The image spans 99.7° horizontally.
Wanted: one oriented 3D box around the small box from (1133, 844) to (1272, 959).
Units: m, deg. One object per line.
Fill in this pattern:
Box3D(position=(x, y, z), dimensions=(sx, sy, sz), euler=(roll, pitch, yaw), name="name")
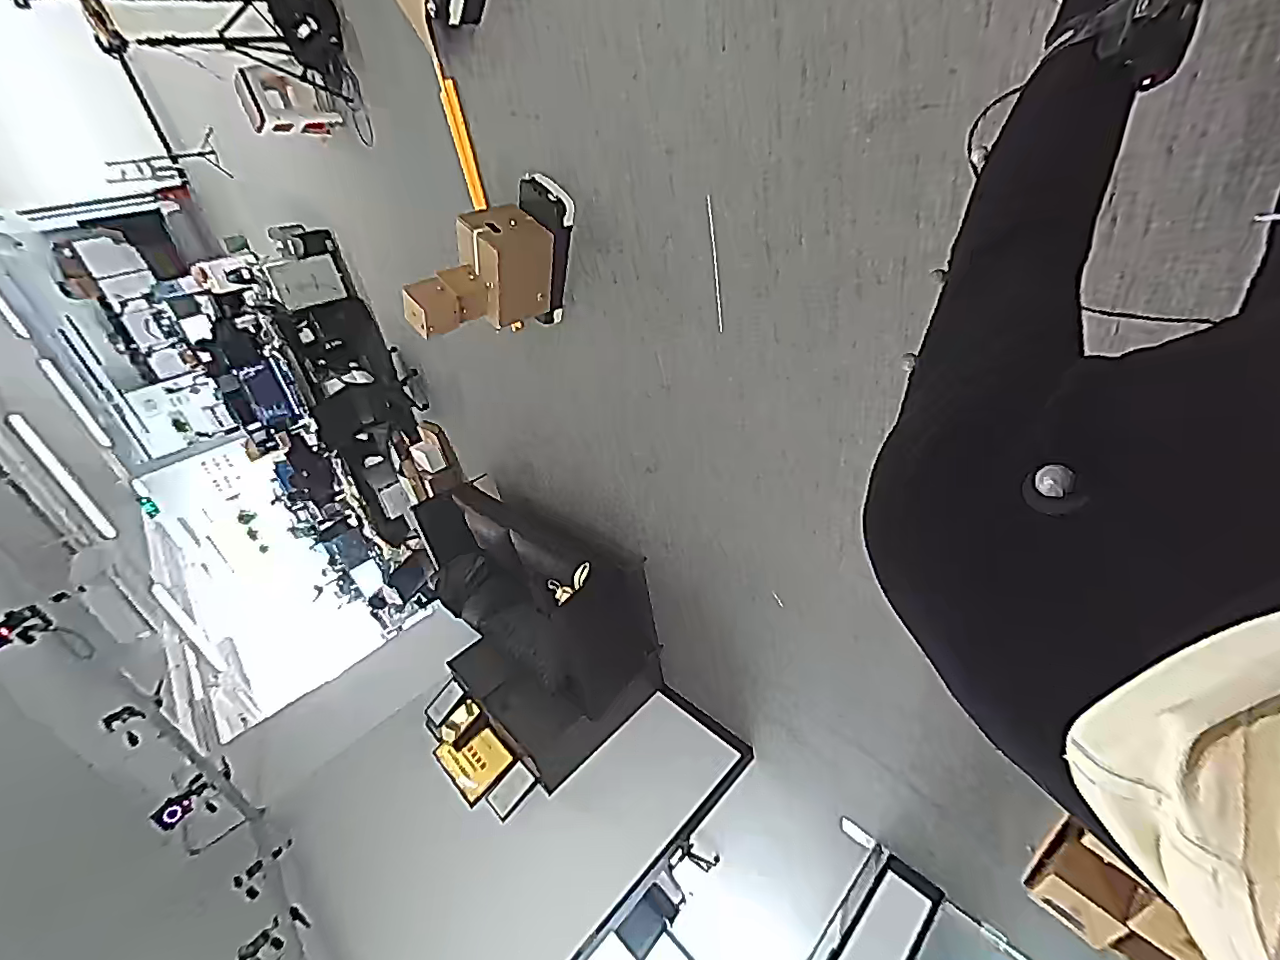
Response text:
Box3D(position=(1.278, 0.983, 1.231), dimensions=(0.168, 0.176, 0.179), euler=(28, 137, 40), name="small box")
